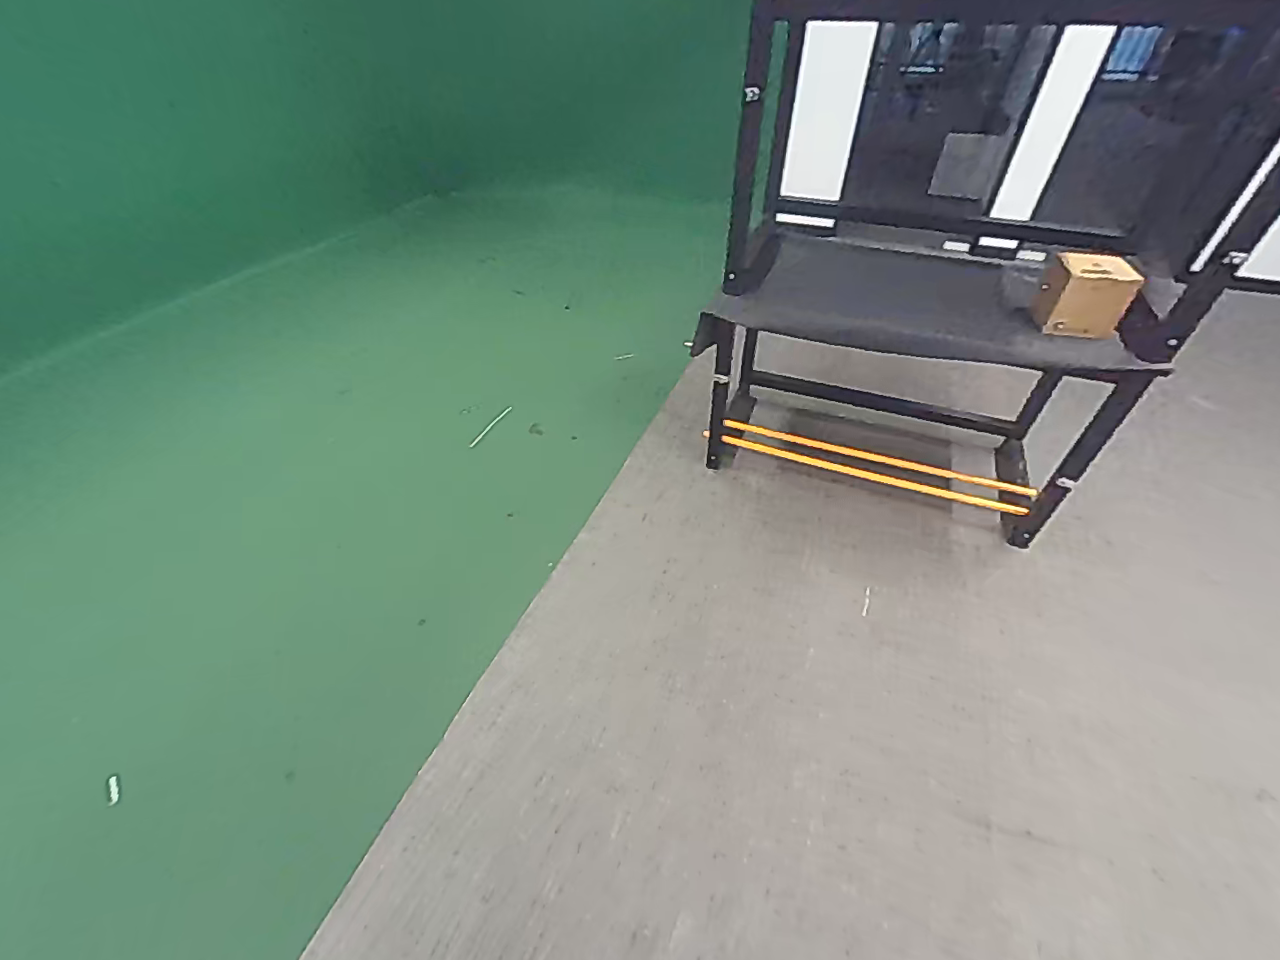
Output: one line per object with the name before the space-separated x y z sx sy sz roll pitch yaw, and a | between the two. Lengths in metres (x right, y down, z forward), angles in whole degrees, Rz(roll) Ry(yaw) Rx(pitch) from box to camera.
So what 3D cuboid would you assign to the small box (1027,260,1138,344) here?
small box | 1.228 -0.498 1.516 0.168 0.176 0.179 10 42 12
